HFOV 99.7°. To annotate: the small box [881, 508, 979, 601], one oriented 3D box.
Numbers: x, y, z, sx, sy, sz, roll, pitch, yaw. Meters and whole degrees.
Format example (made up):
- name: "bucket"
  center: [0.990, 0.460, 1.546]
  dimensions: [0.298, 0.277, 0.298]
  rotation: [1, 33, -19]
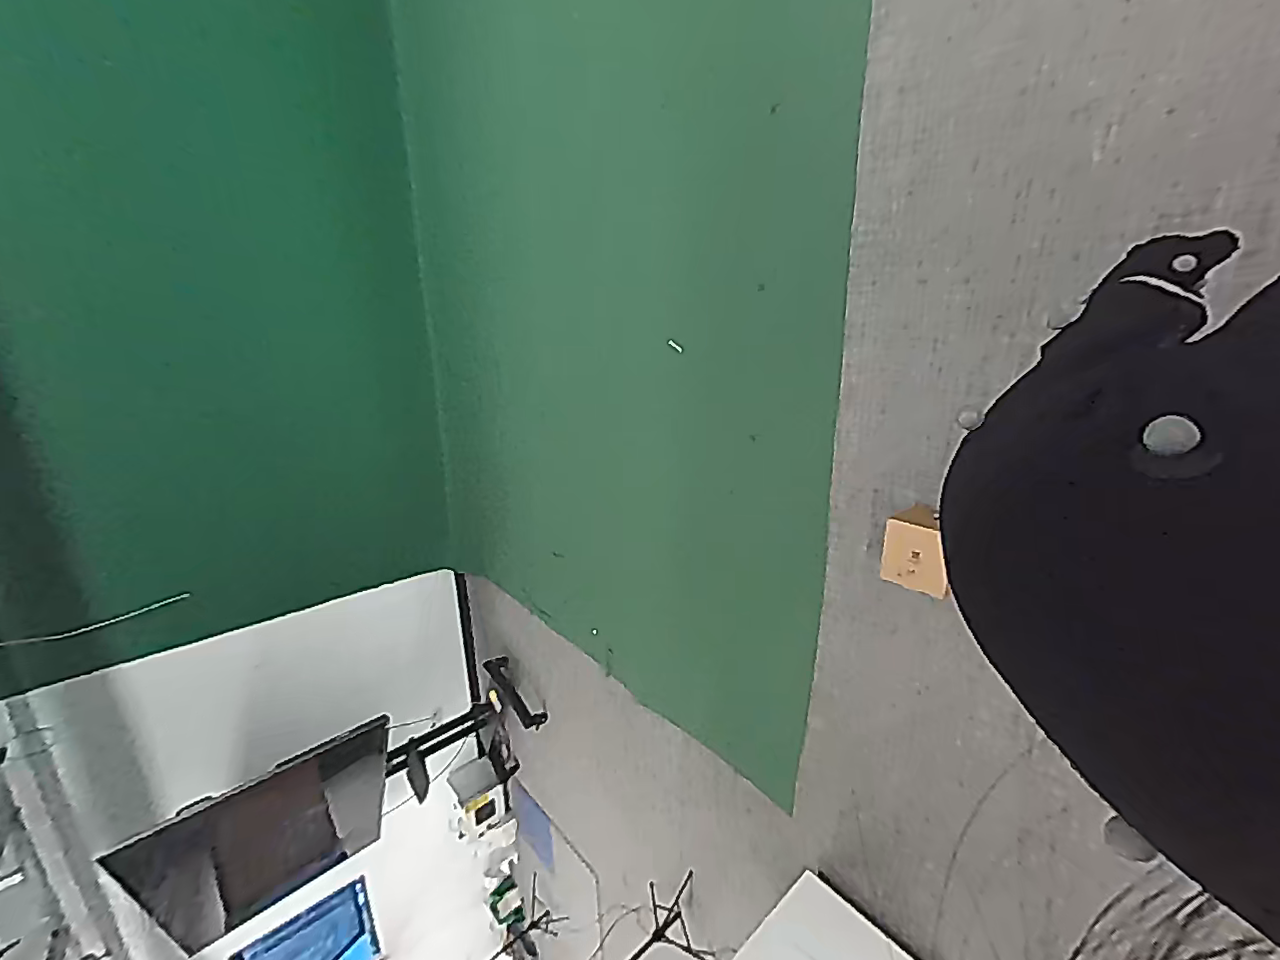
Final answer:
- name: "small box"
  center: [0.760, 0.184, 1.415]
  dimensions: [0.168, 0.176, 0.179]
  rotation: [18, 114, 47]
